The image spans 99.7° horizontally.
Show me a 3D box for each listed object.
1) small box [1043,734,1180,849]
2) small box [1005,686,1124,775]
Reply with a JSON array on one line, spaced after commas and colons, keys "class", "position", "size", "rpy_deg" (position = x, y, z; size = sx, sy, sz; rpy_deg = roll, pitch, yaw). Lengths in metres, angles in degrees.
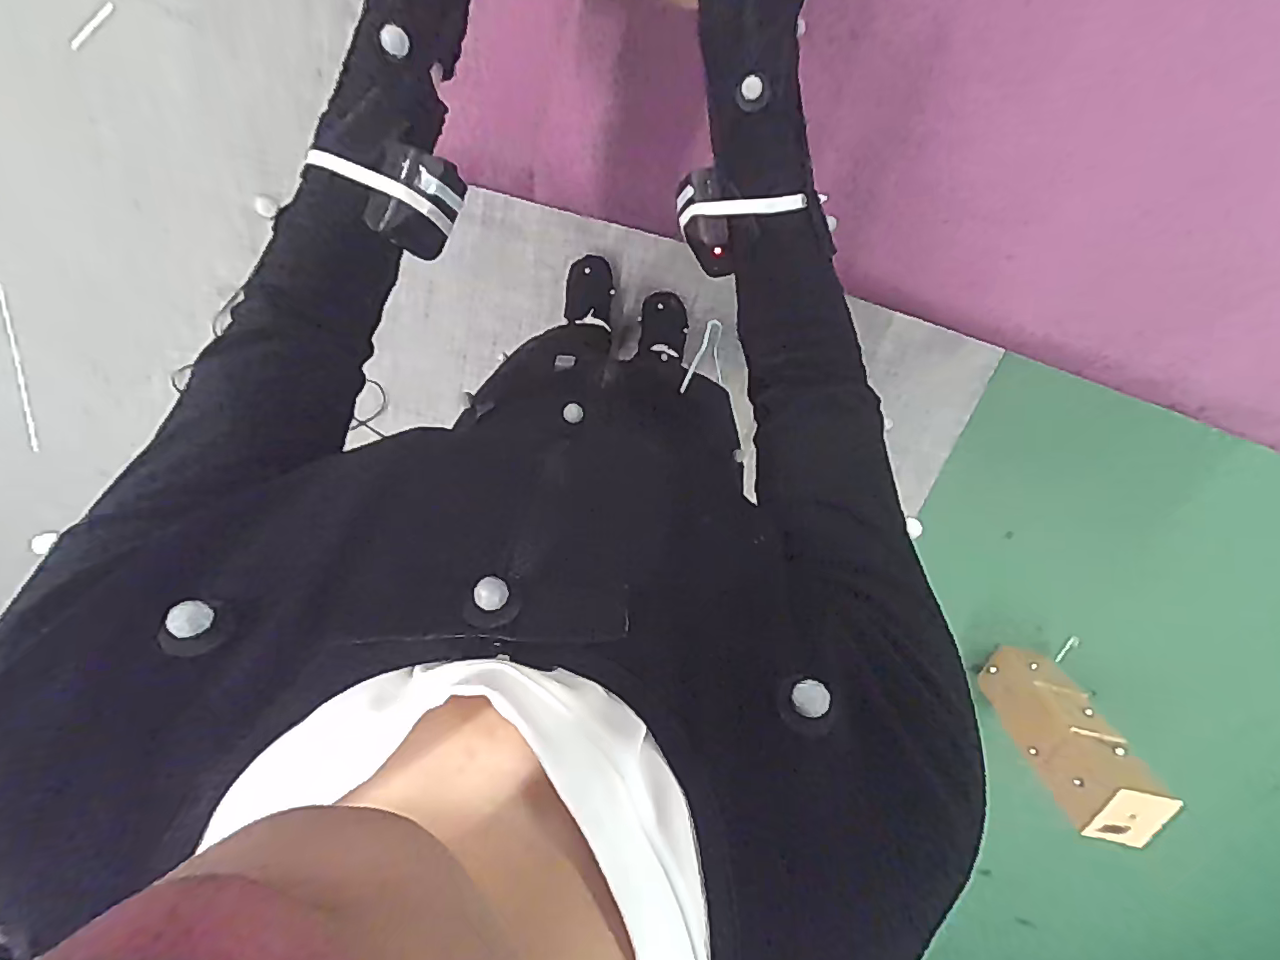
[{"class": "small box", "position": [1.181, 0.789, 1.378], "size": [0.168, 0.176, 0.179], "rpy_deg": [14, 113, -3]}, {"class": "small box", "position": [1.182, 0.715, 1.525], "size": [0.168, 0.176, 0.179], "rpy_deg": [15, 114, -3]}]
